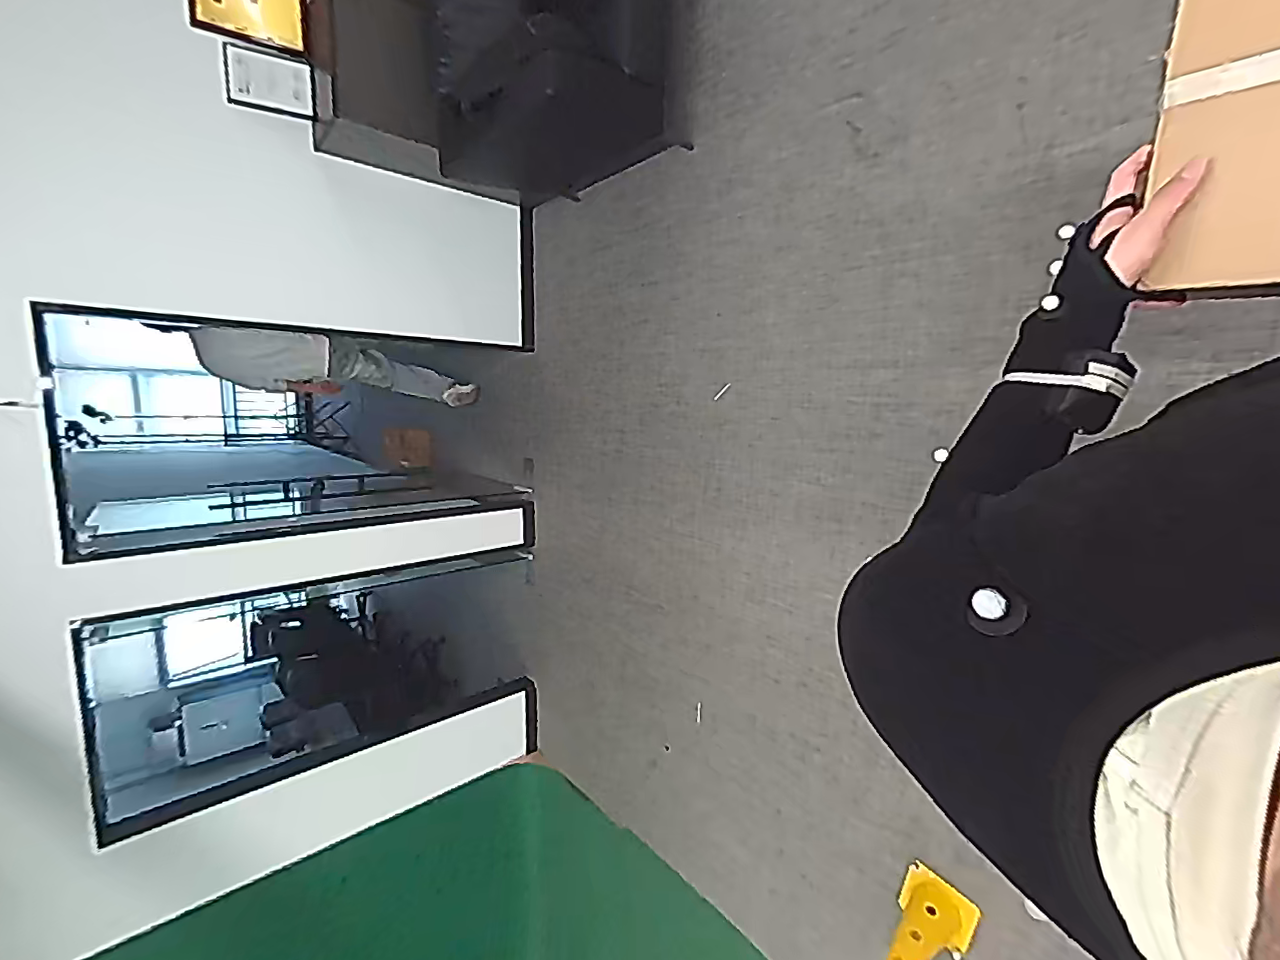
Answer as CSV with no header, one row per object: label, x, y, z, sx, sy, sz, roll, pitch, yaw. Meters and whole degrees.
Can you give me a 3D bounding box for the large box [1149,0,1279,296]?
large box,0.692,-0.325,0.406,0.408,0.320,0.320,13,111,47
